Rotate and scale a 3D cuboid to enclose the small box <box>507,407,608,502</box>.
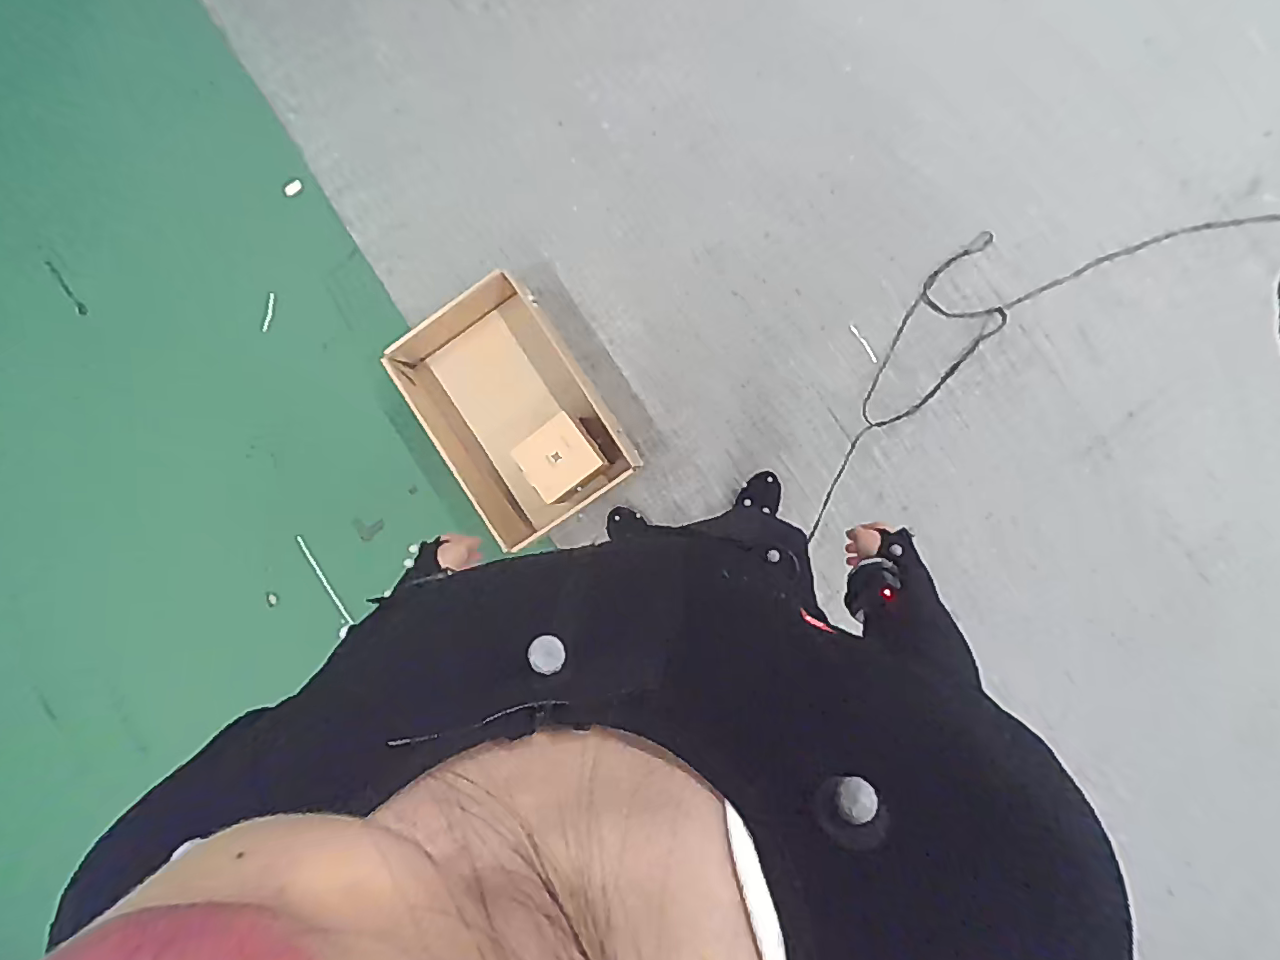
[{"bbox_3d":[-0.201,-0.060,1.378,0.179,0.176,0.168,-37,87,4],"label":"small box"}]
